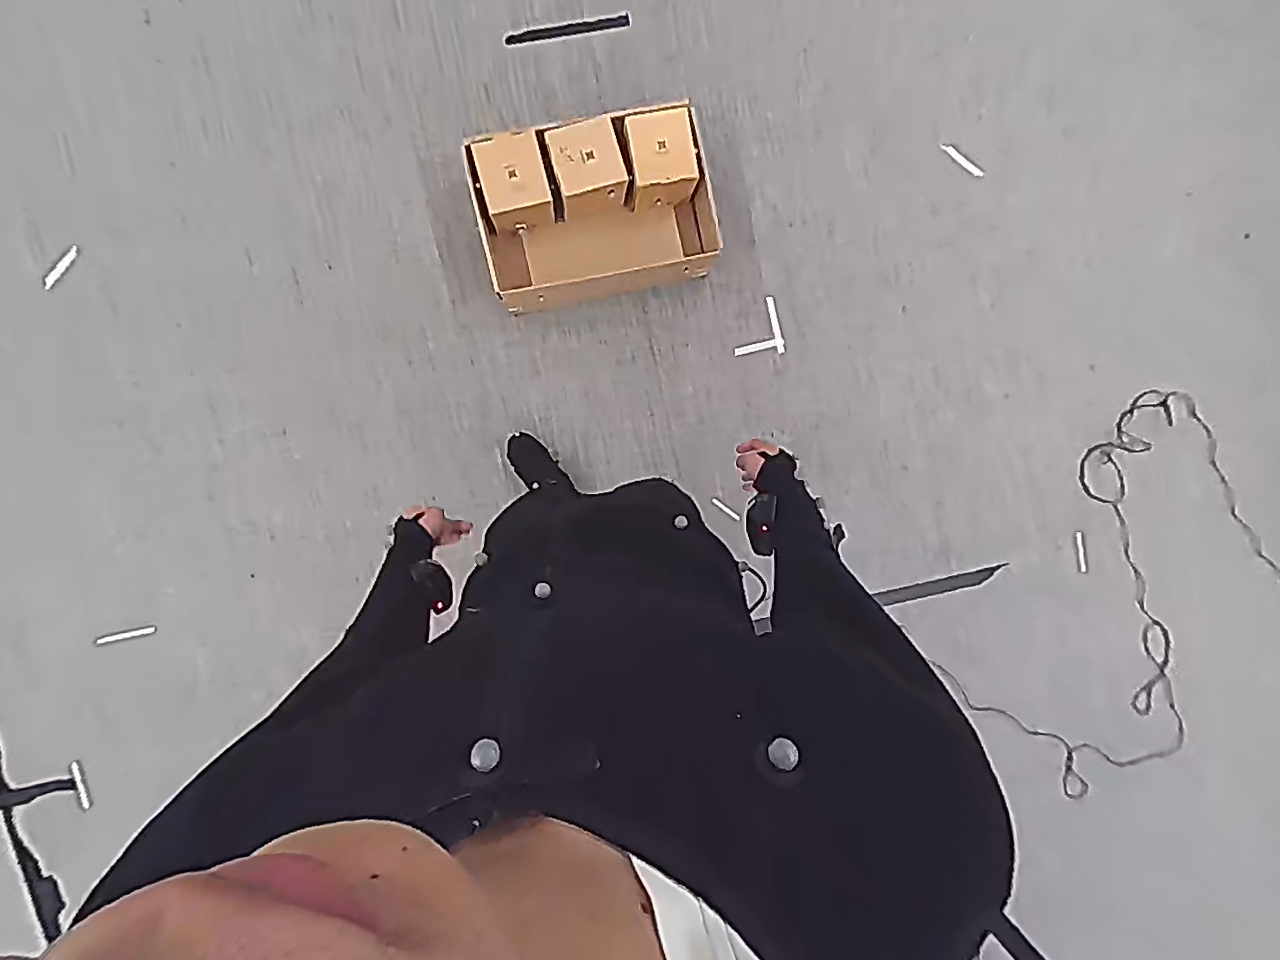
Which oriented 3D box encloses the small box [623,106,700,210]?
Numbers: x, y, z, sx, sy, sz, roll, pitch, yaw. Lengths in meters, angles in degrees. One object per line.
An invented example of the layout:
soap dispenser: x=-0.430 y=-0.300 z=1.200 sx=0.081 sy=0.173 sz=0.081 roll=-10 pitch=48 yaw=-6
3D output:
small box: x=0.052 y=-0.863 z=1.463 sx=0.168 sy=0.176 sz=0.179 roll=-12 pitch=97 yaw=-4
